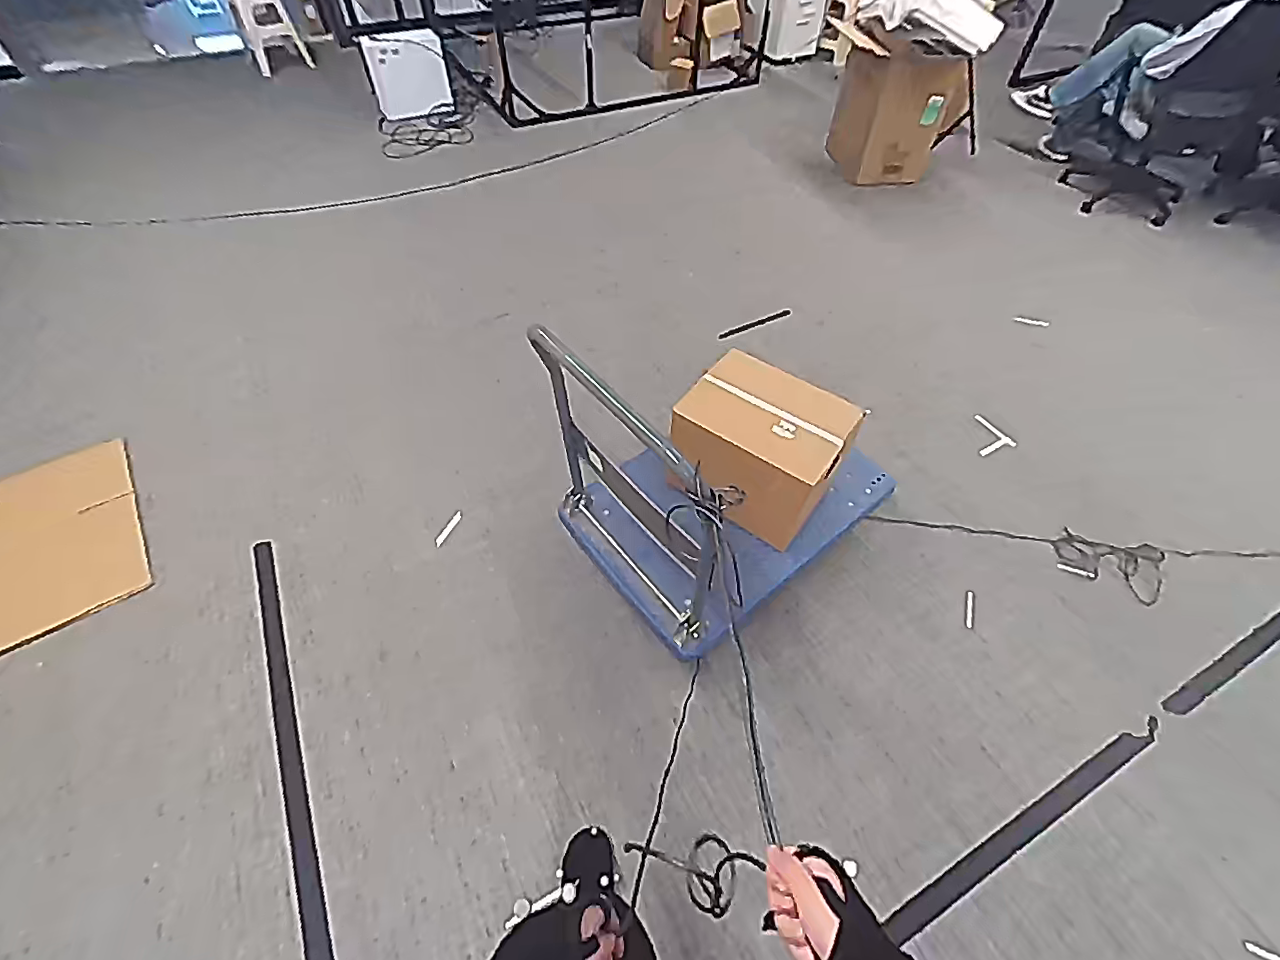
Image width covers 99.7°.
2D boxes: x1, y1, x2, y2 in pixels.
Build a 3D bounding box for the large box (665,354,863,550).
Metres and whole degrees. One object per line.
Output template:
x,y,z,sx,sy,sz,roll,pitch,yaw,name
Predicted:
0.322,-0.080,1.502,0.408,0.320,0.320,31,59,20,large box
